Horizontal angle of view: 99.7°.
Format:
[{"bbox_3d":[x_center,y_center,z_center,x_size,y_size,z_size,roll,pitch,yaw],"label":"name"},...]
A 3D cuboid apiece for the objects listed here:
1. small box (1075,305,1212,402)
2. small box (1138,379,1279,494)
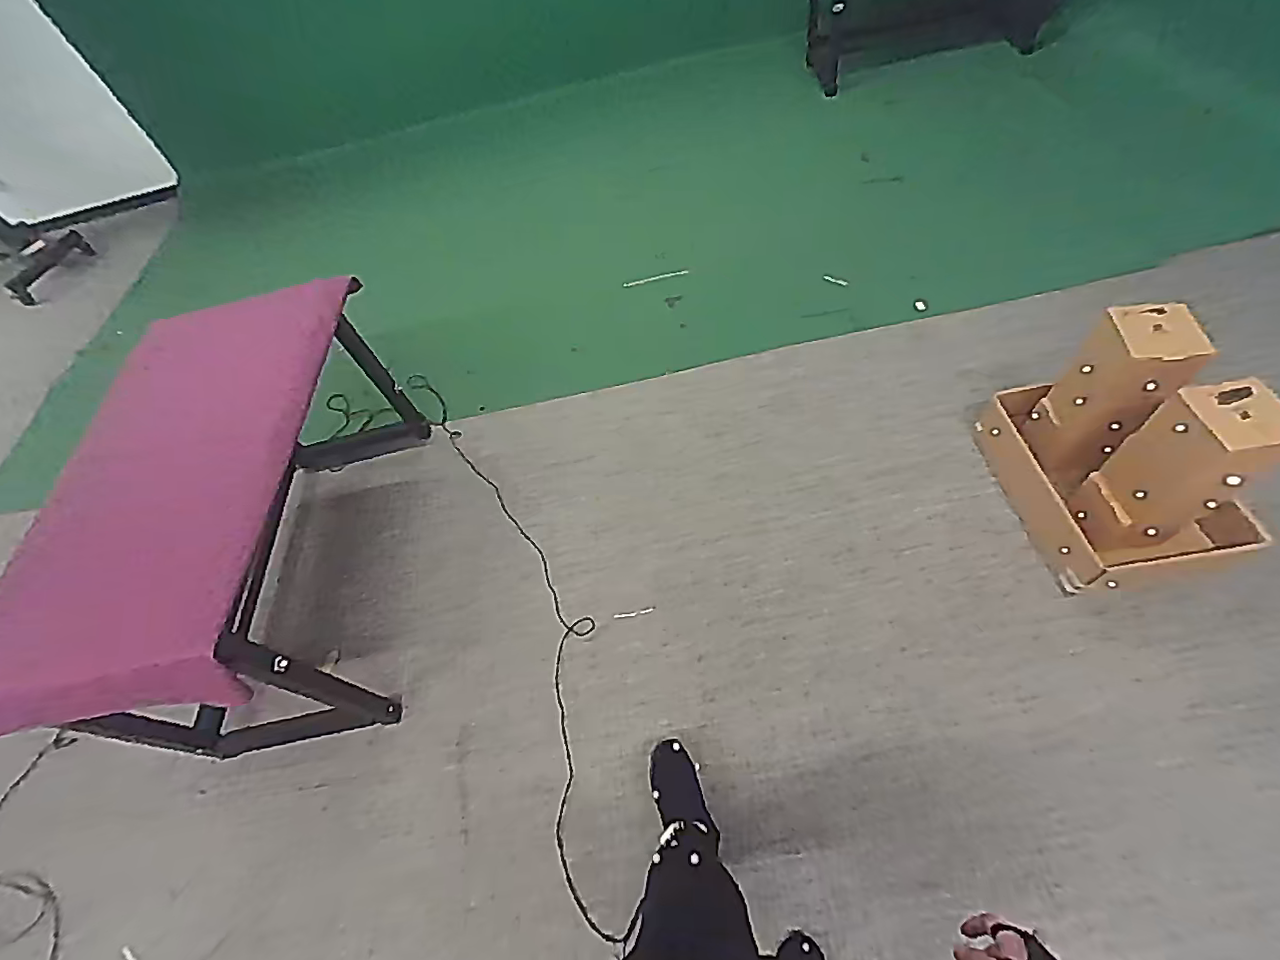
[{"bbox_3d":[1.235,-0.307,1.344,0.168,0.176,0.179,0,59,11],"label":"small box"},{"bbox_3d":[1.272,-0.094,1.195,0.168,0.176,0.179,-9,55,6],"label":"small box"}]
